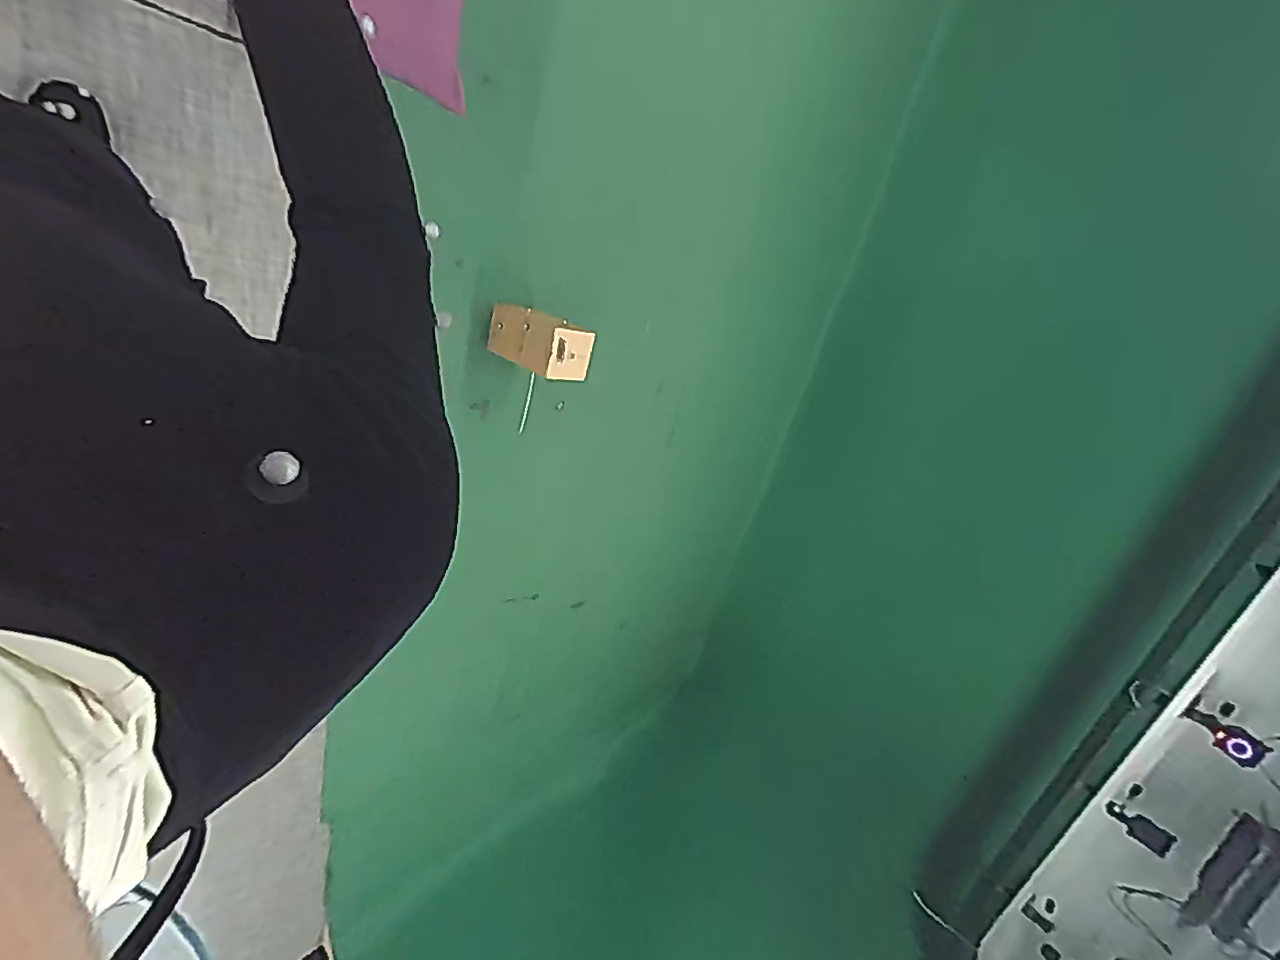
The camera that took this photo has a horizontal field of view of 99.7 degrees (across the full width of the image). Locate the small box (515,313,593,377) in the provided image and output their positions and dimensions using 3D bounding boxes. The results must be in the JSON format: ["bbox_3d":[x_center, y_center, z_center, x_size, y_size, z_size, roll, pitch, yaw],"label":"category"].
[{"bbox_3d":[-0.291,-0.450,1.802,0.179,0.176,0.168,-10,123,-50],"label":"small box"}]

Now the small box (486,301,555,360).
[{"bbox_3d":[-0.409,-0.519,1.892,0.179,0.176,0.168,-9,122,-49],"label":"small box"}]
